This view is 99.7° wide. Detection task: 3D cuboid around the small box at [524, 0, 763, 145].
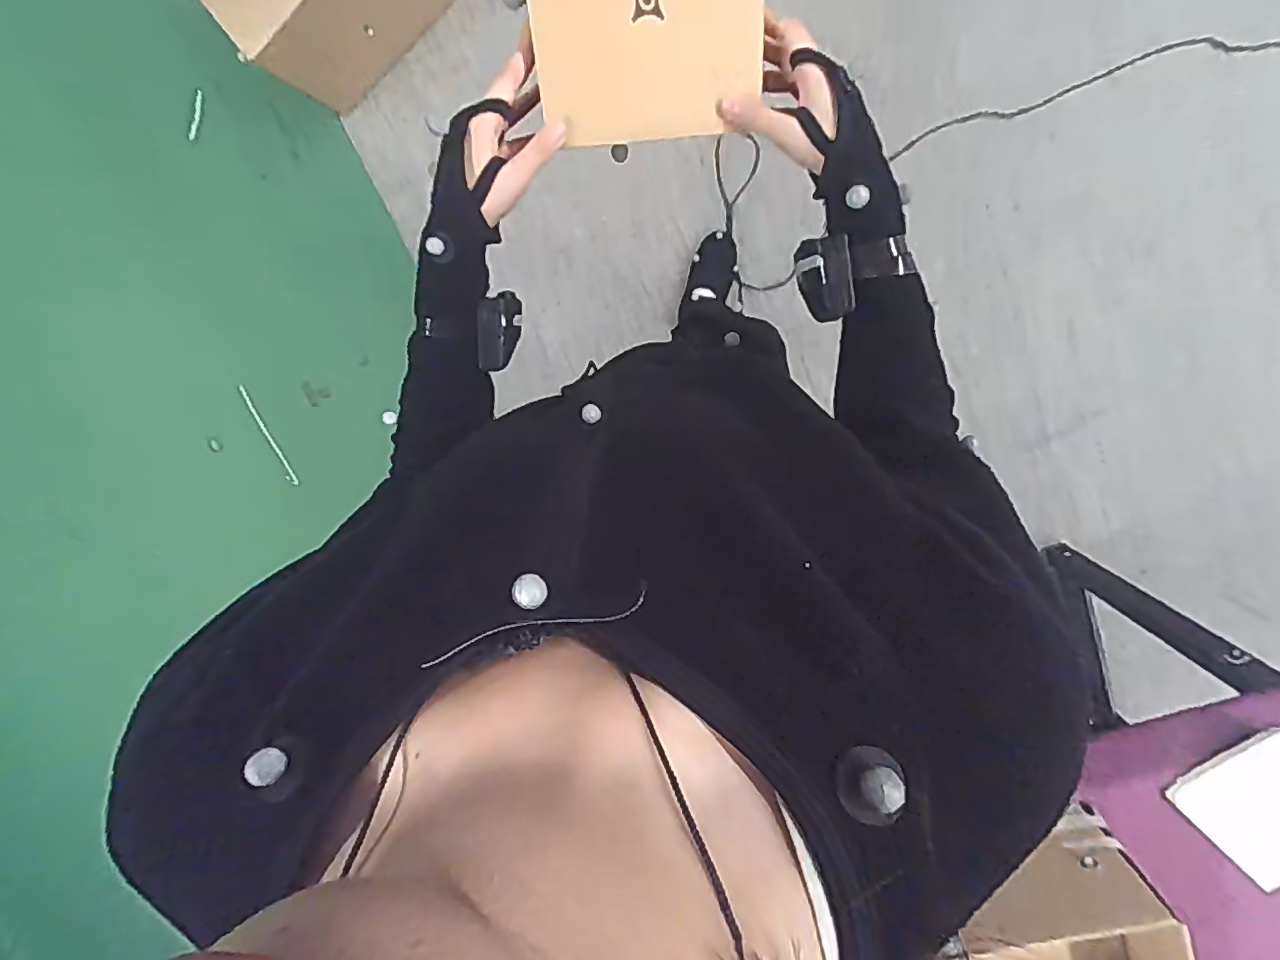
[{"bbox_3d":[-0.005,-0.376,0.429,0.168,0.176,0.179,-7,122,-3],"label":"small box"}]
